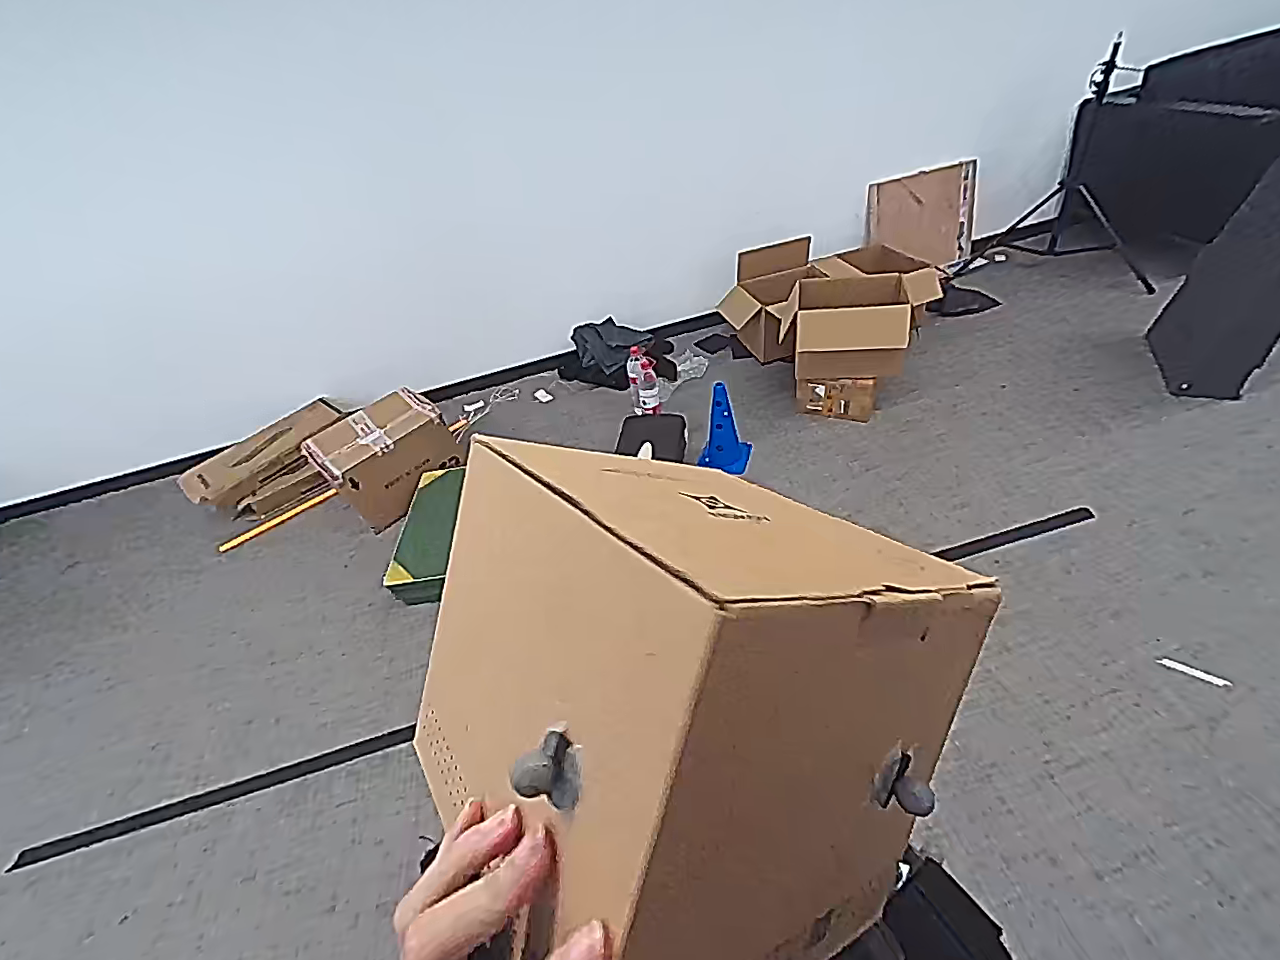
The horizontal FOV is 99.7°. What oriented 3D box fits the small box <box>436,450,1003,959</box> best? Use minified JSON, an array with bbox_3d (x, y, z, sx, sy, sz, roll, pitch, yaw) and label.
[{"bbox_3d":[0.017,0.094,0.253,0.168,0.176,0.179,7,12,-36],"label":"small box"}]
